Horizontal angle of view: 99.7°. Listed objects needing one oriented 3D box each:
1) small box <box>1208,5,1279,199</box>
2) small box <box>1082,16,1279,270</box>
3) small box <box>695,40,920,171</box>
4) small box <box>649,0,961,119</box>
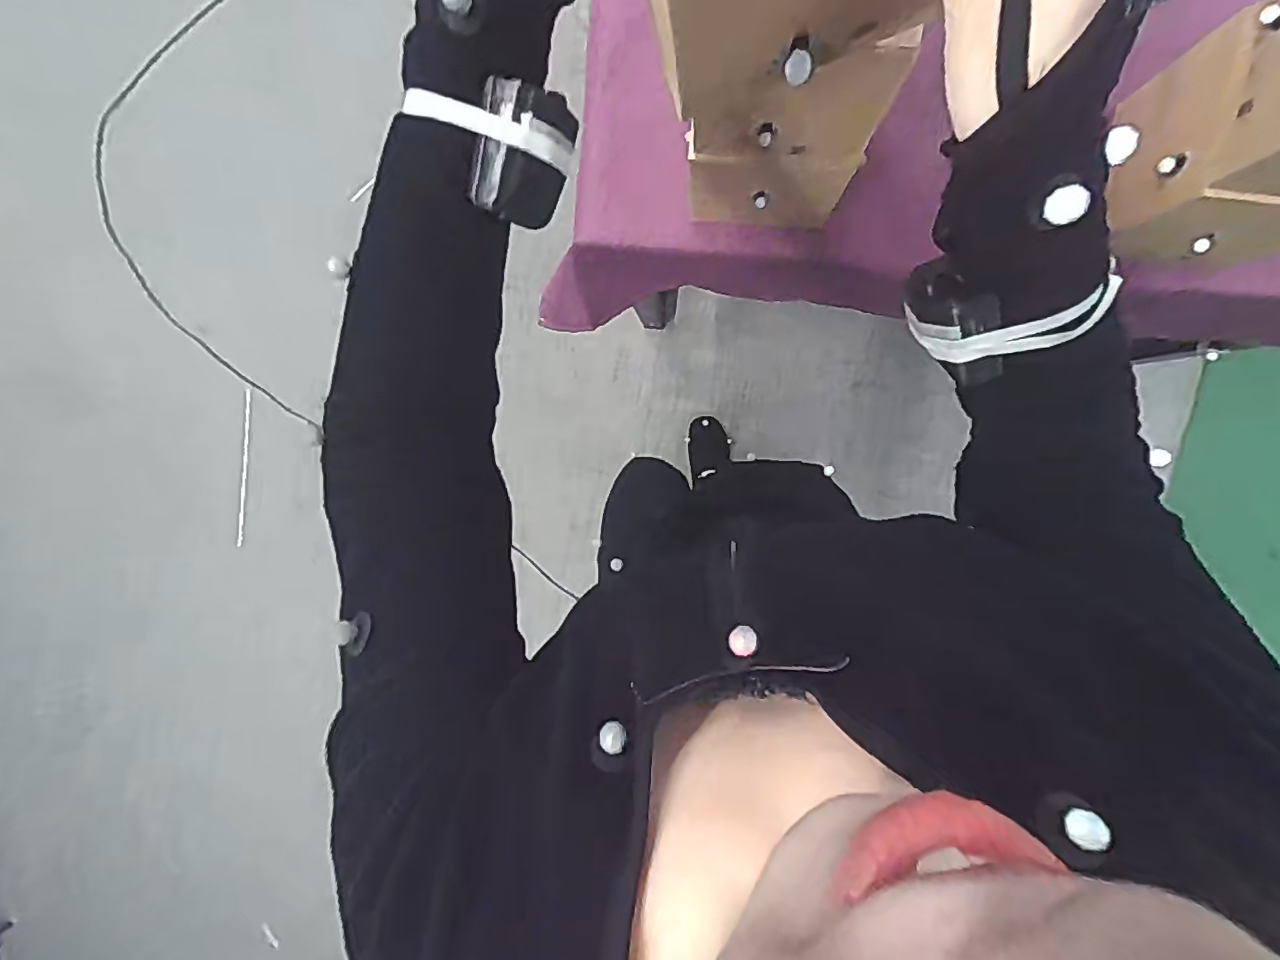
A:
[{"bbox_3d":[0.628,-0.333,0.426,0.179,0.176,0.168,10,97,4],"label":"small box"},{"bbox_3d":[0.637,-0.346,0.590,0.168,0.176,0.179,10,96,4],"label":"small box"},{"bbox_3d":[0.138,-0.404,0.471,0.168,0.176,0.179,7,96,5],"label":"small box"},{"bbox_3d":[0.069,-0.304,0.230,0.168,0.176,0.179,-15,101,10],"label":"small box"}]
